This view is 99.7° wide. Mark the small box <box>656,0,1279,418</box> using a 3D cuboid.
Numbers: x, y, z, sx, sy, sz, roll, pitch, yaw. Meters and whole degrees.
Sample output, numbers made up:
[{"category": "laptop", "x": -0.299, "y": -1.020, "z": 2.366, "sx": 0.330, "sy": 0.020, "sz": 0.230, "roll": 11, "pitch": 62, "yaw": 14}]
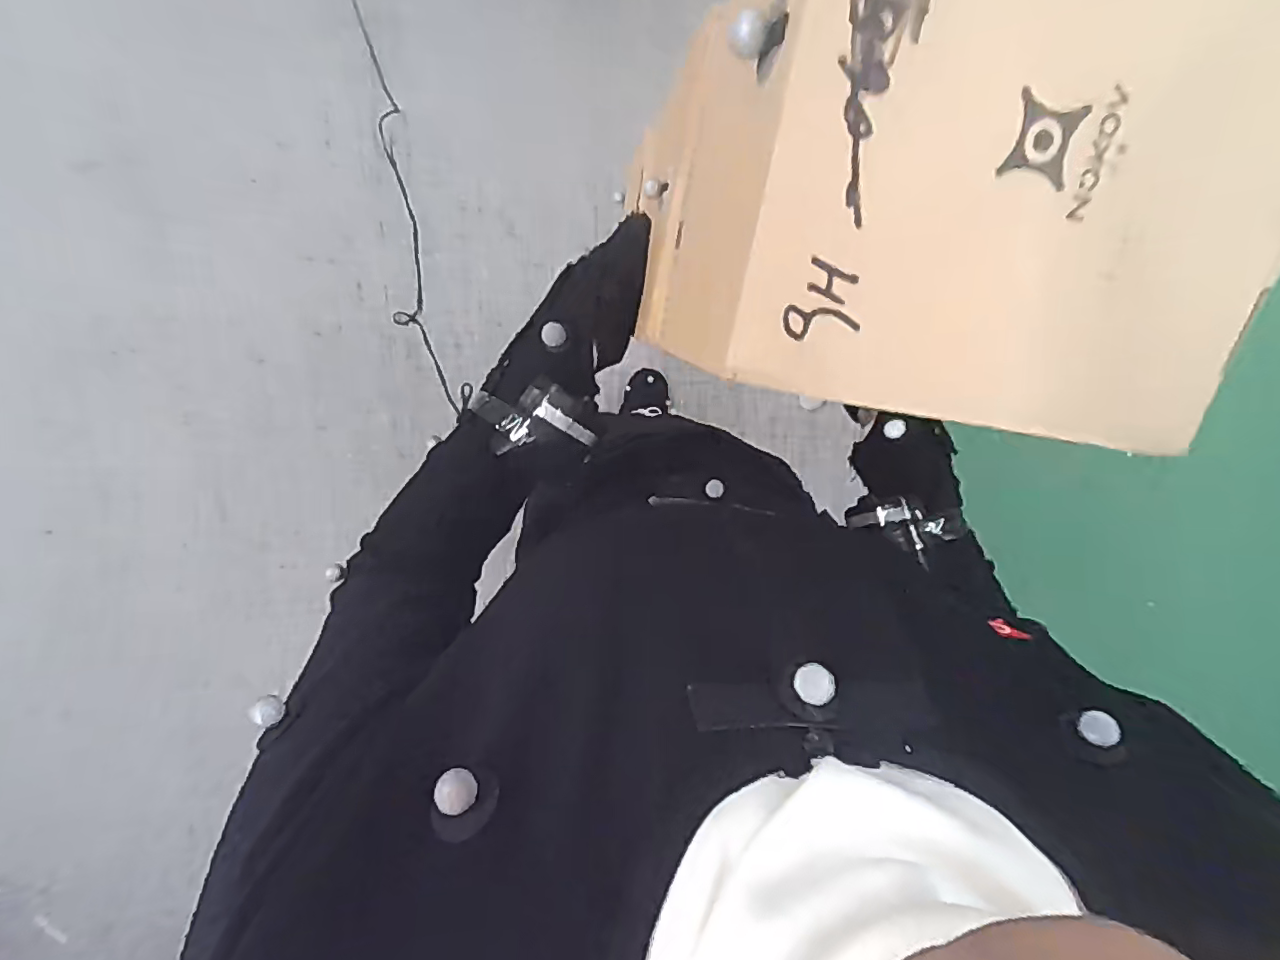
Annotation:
[{"category": "small box", "x": 0.115, "y": -0.135, "z": 0.238, "sx": 0.179, "sy": 0.176, "sz": 0.168, "roll": 8, "pitch": 106, "yaw": -9}]
